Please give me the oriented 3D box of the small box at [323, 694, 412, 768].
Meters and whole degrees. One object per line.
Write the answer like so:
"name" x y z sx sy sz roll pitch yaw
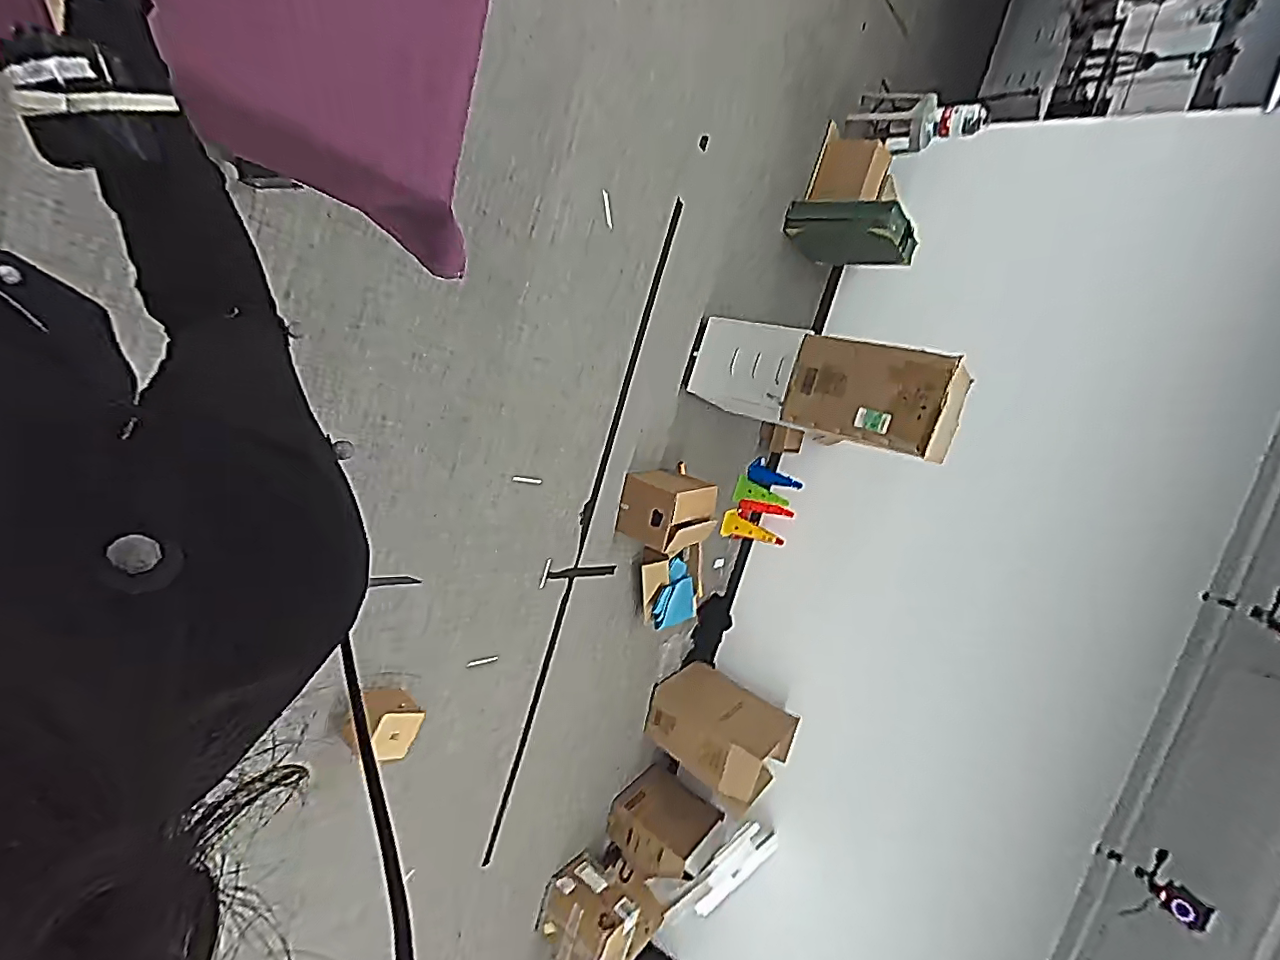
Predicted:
"small box" -0.920 0.839 1.823 0.179 0.176 0.168 38 75 -55
